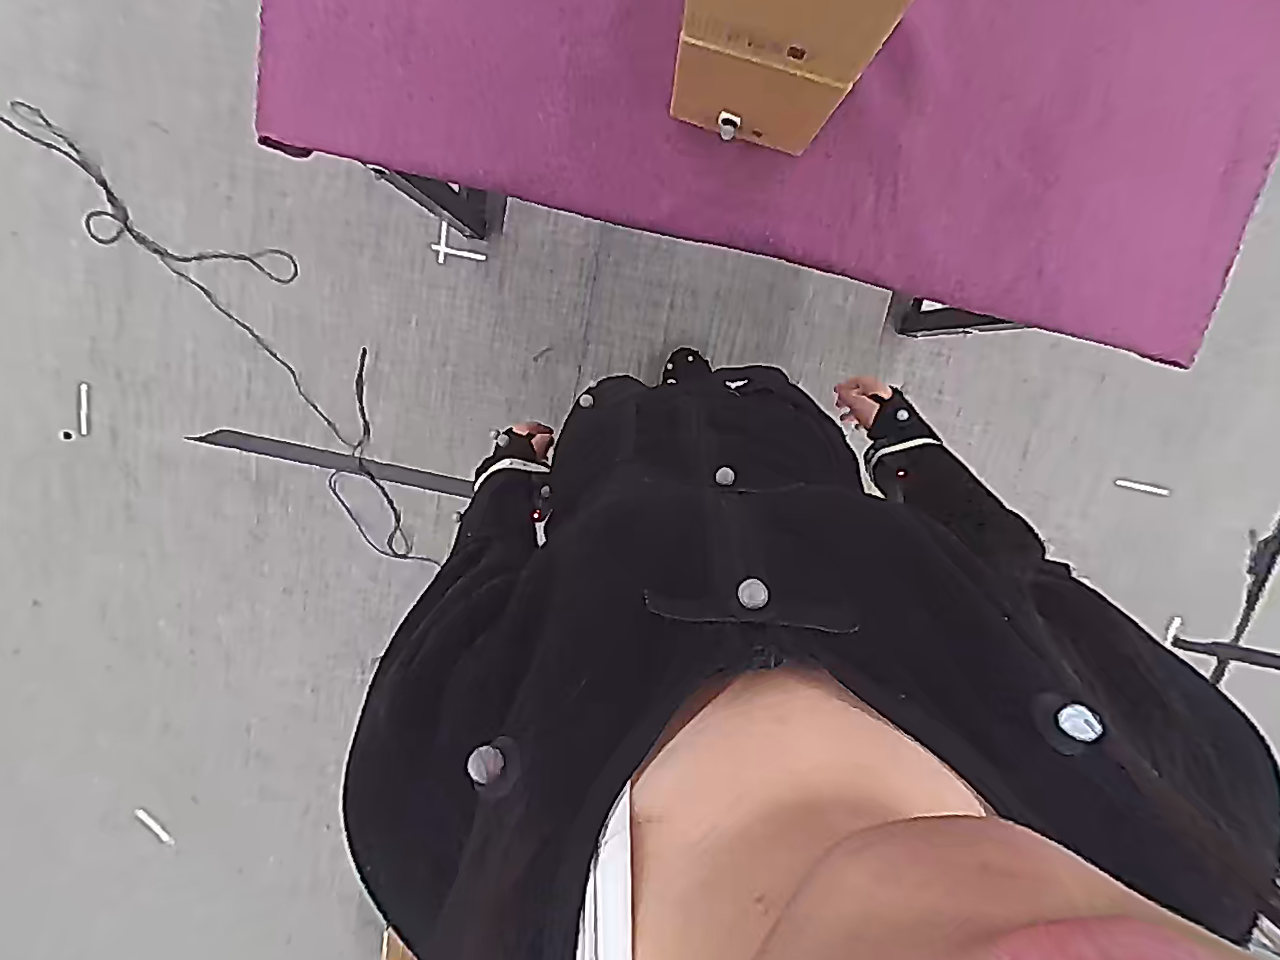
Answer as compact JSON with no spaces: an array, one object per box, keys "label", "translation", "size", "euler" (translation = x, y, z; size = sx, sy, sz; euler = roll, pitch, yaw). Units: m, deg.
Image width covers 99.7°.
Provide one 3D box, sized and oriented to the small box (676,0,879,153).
[{"label":"small box","translation":[0.138,-0.478,0.555],"size":[0.168,0.176,0.179],"euler":[14,102,-3]}]
